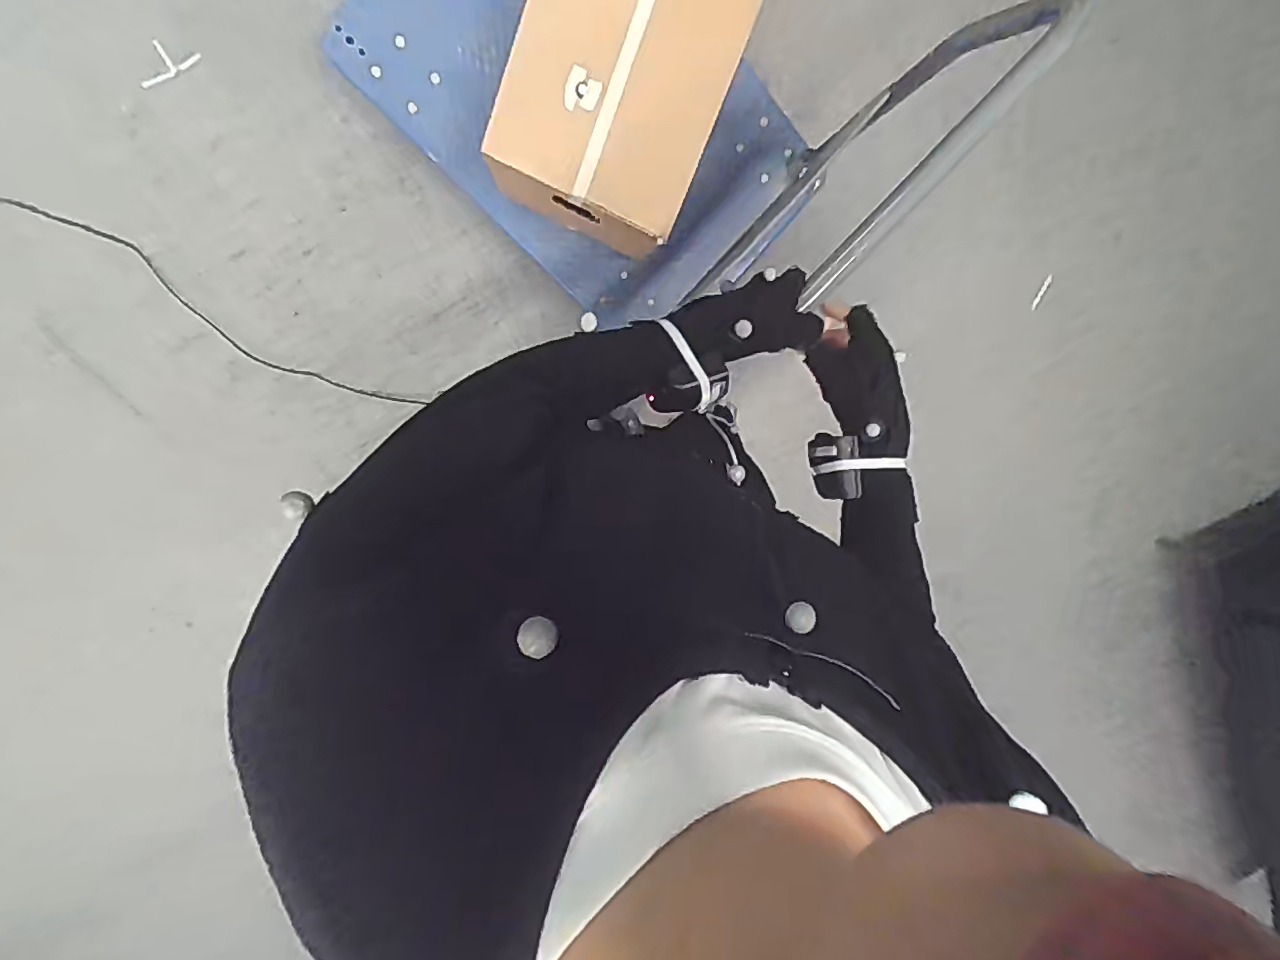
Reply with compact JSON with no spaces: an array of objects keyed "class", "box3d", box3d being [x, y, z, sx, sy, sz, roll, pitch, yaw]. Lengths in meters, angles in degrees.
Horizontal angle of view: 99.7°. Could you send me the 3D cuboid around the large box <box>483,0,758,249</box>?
[{"class":"large box","box3d":[-0.046,-0.674,0.939,0.320,0.320,0.408,21,104,-14]}]
